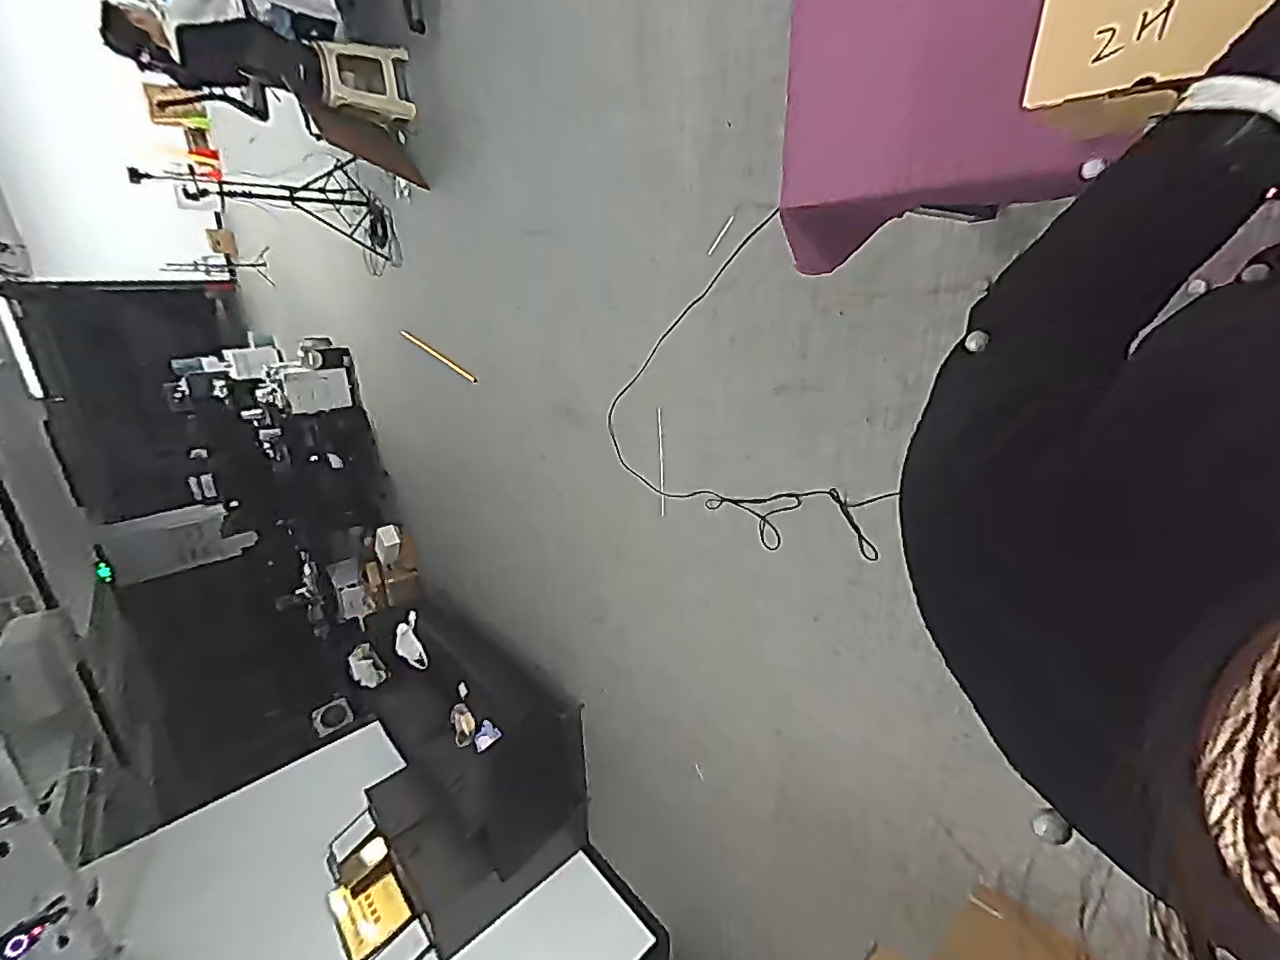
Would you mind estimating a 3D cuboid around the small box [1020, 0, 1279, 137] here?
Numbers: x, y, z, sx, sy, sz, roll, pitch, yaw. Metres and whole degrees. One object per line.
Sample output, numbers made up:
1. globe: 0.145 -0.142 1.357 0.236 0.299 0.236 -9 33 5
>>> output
1. small box: 0.454 -0.407 0.445 0.168 0.176 0.179 24 121 44
